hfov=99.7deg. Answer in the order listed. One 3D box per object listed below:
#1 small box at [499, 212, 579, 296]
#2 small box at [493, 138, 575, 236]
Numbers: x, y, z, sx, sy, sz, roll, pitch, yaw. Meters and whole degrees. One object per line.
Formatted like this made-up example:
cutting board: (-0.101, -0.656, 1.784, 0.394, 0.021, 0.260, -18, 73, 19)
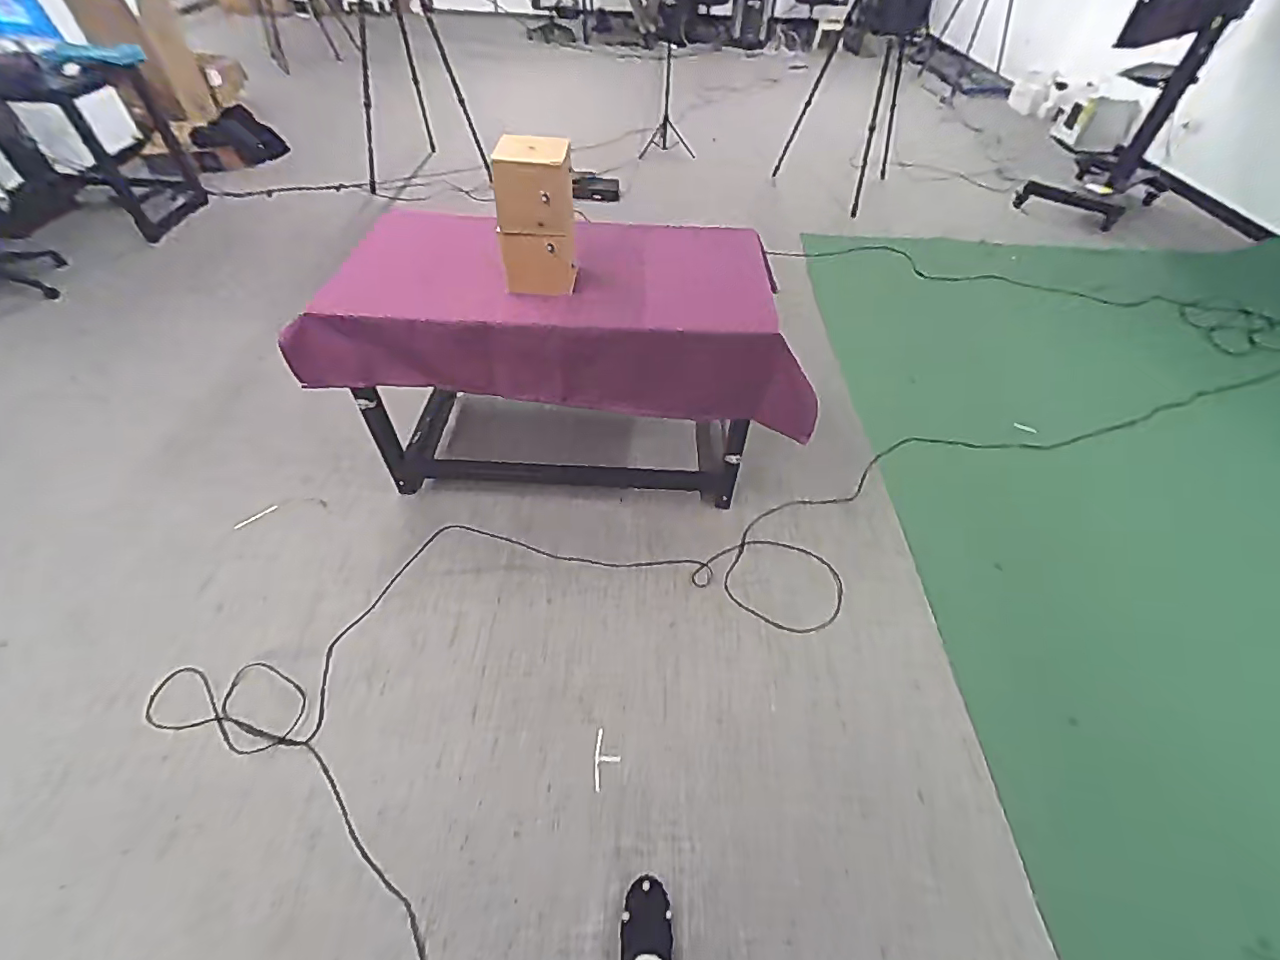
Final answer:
small box: (-0.265, -0.614, 1.458, 0.179, 0.176, 0.168, 4, 48, 0)
small box: (-0.253, -0.722, 1.338, 0.168, 0.176, 0.179, 3, 47, -1)
